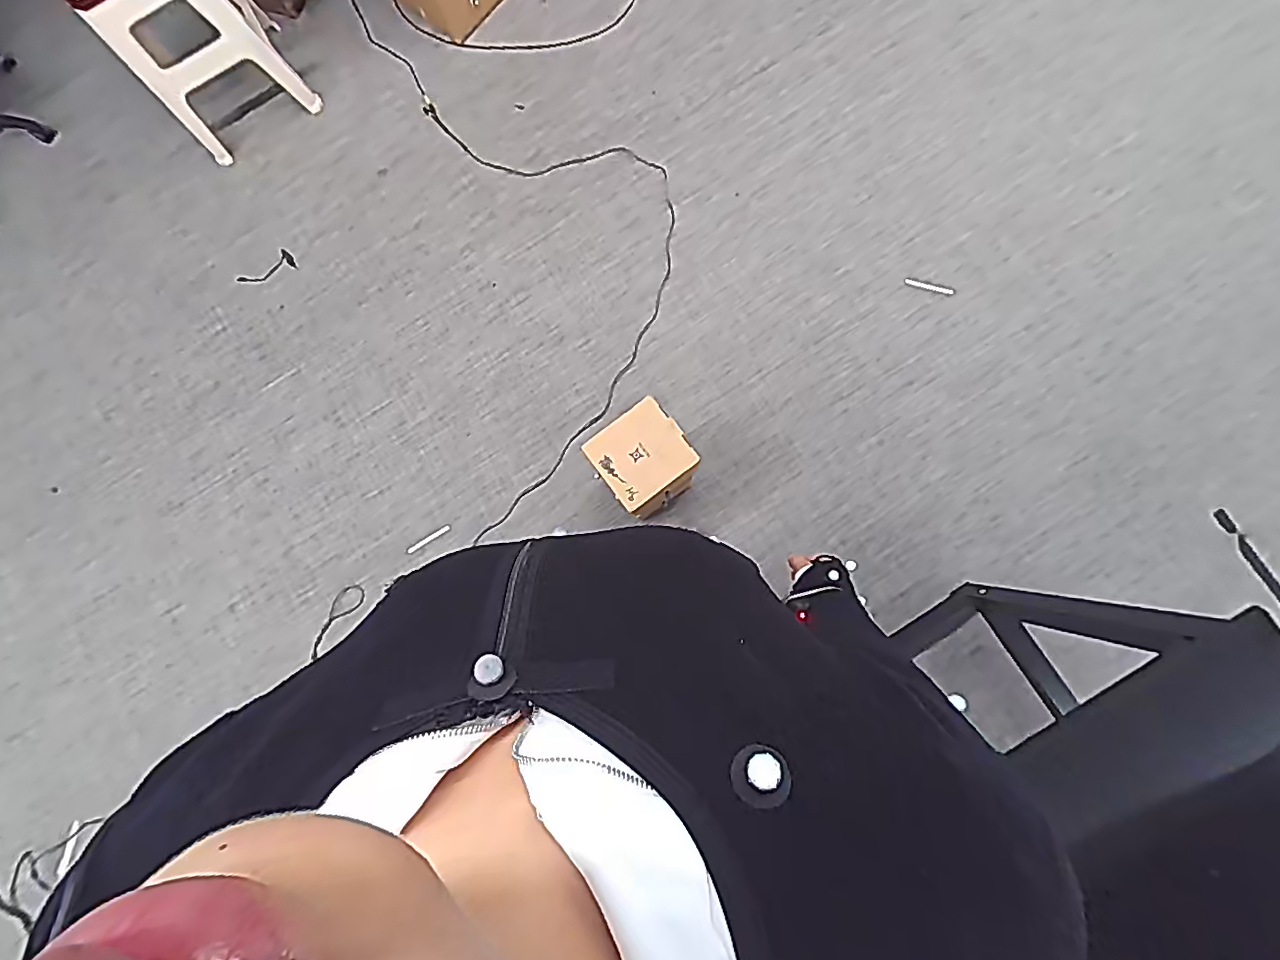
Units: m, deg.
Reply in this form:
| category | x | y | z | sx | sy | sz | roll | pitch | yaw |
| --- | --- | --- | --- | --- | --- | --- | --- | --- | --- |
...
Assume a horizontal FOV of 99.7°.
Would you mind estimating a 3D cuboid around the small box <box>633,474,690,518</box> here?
| category | x | y | z | sx | sy | sz | roll | pitch | yaw |
| --- | --- | --- | --- | --- | --- | --- | --- | --- | --- |
| small box | 0.016 | -0.013 | 1.457 | 0.179 | 0.176 | 0.168 | -36 | 82 | -1 |

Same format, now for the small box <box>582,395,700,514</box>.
| category | x | y | z | sx | sy | sz | roll | pitch | yaw |
| --- | --- | --- | --- | --- | --- | --- | --- | --- | --- |
| small box | 0.002 | -0.046 | 1.132 | 0.179 | 0.176 | 0.168 | -37 | 82 | -3 |
